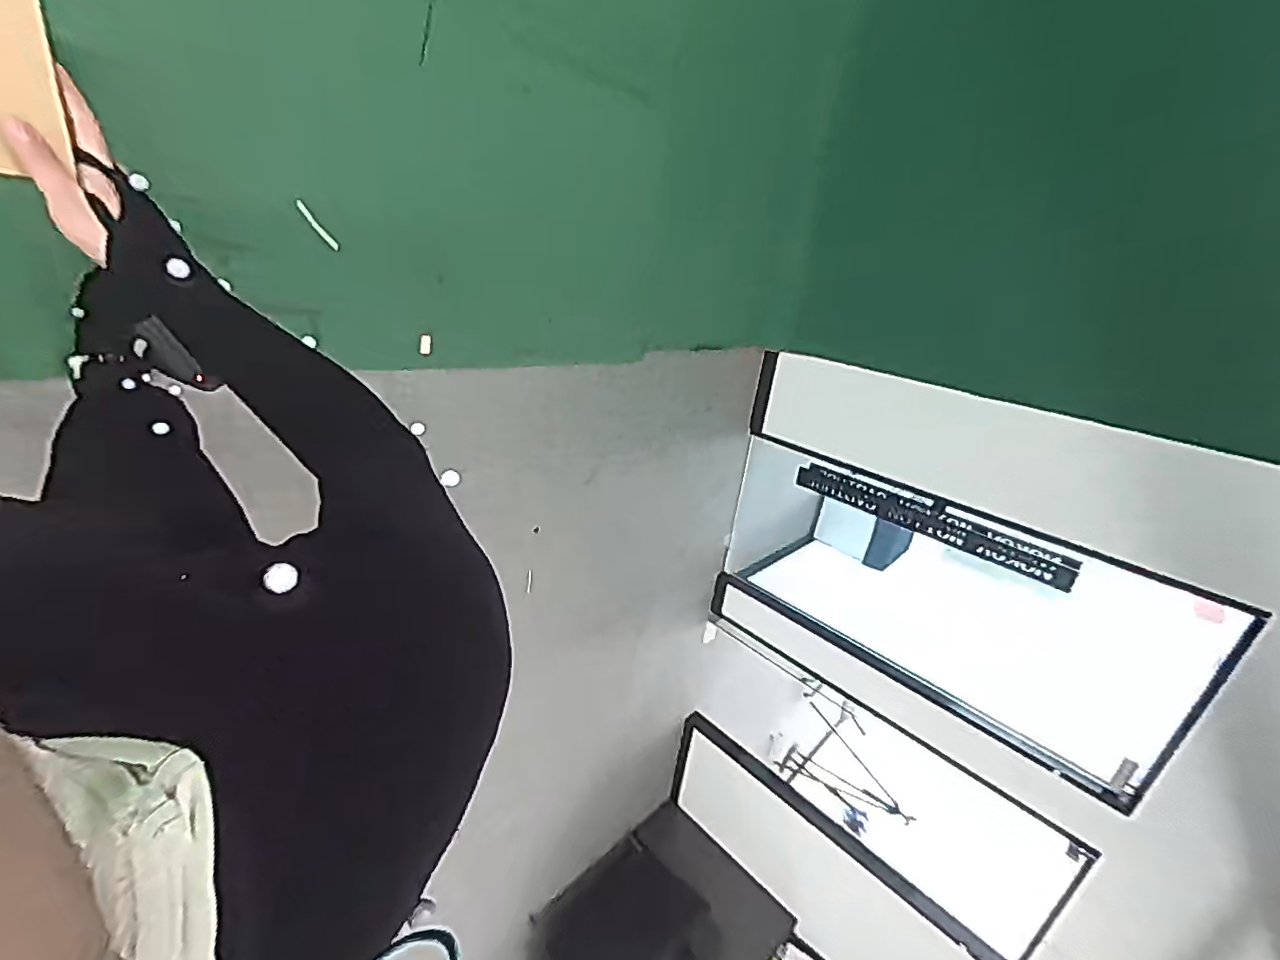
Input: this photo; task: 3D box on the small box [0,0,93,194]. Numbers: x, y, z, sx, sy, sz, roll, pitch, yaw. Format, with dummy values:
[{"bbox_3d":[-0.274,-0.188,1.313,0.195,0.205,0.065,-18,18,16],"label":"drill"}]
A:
[{"bbox_3d":[-0.555,-0.329,0.409,0.168,0.176,0.179,-15,120,-45],"label":"small box"}]
